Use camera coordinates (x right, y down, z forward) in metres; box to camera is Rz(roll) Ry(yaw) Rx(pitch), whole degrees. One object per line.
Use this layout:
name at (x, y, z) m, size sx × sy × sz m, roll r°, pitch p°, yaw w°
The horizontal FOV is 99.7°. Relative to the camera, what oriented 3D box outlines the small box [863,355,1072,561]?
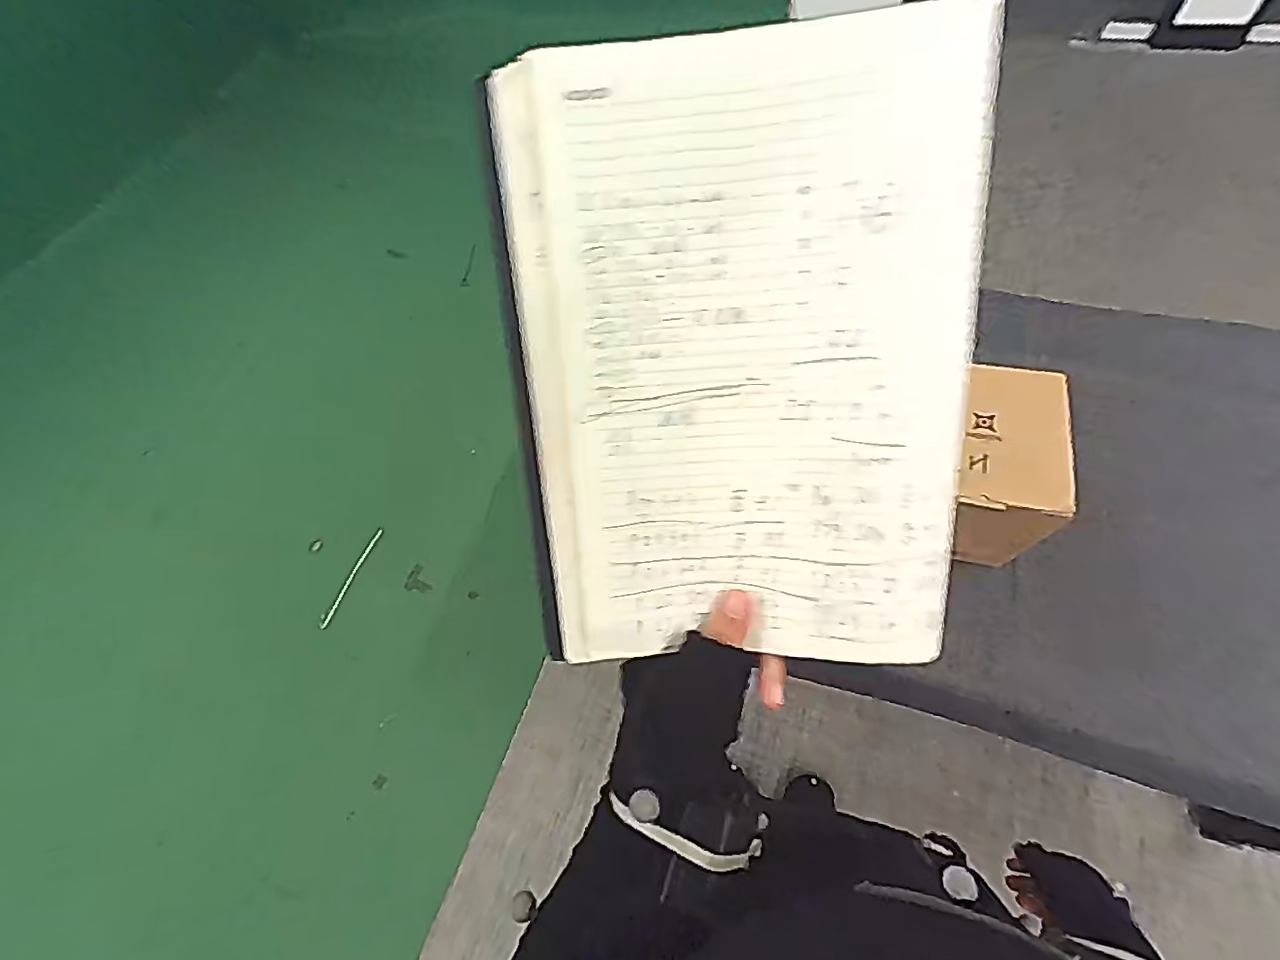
small box at (0.377, -0.022, 0.651) m, size 0.168 × 0.176 × 0.179 m, roll 10°, pitch 66°, yaw 14°
